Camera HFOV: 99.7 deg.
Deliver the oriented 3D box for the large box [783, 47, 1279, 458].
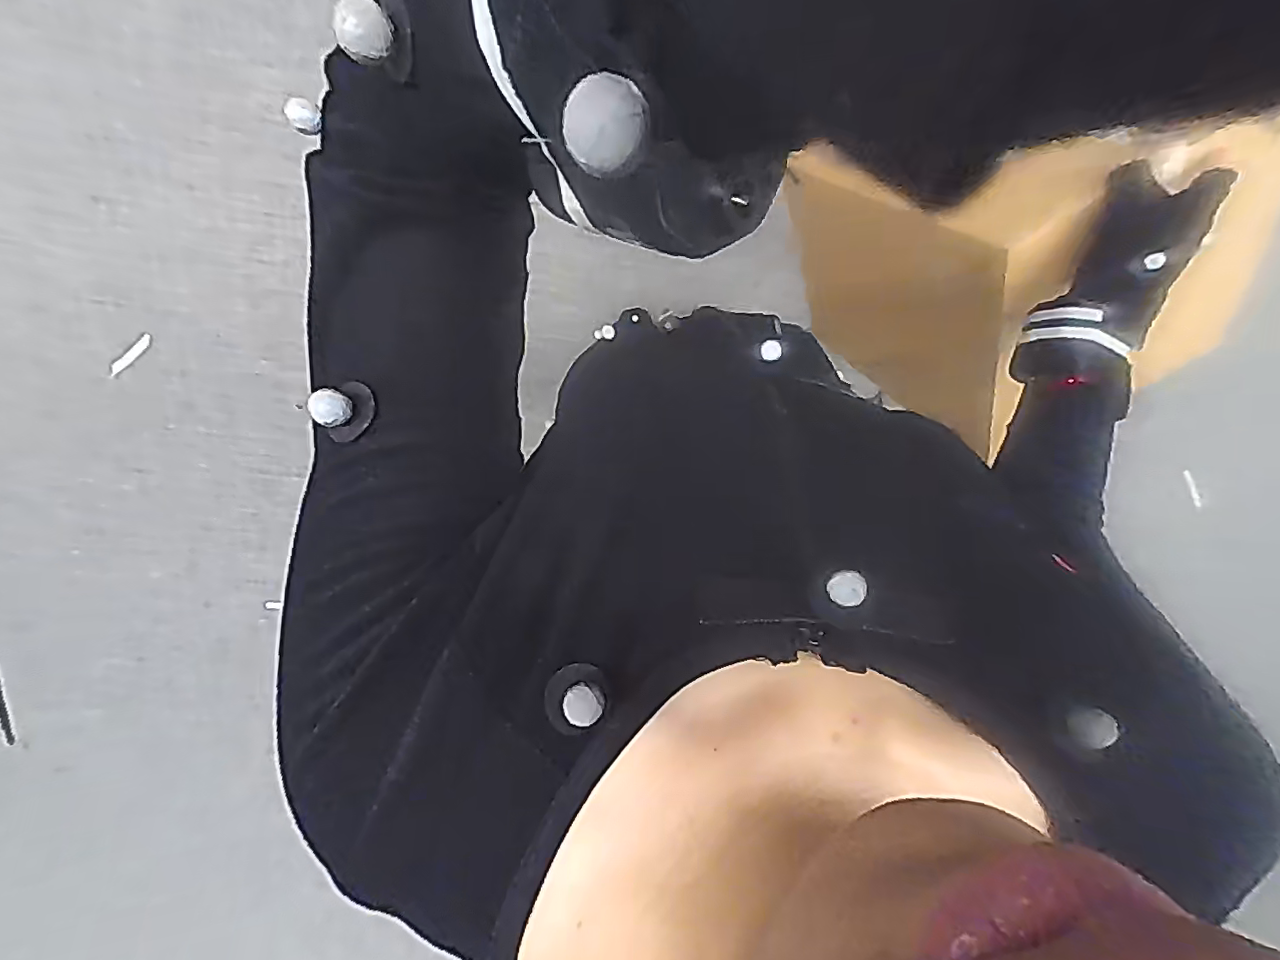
[{"bbox_3d":[0.446,-0.308,0.714,0.320,0.408,0.320,-29,135,3],"label":"large box"}]
